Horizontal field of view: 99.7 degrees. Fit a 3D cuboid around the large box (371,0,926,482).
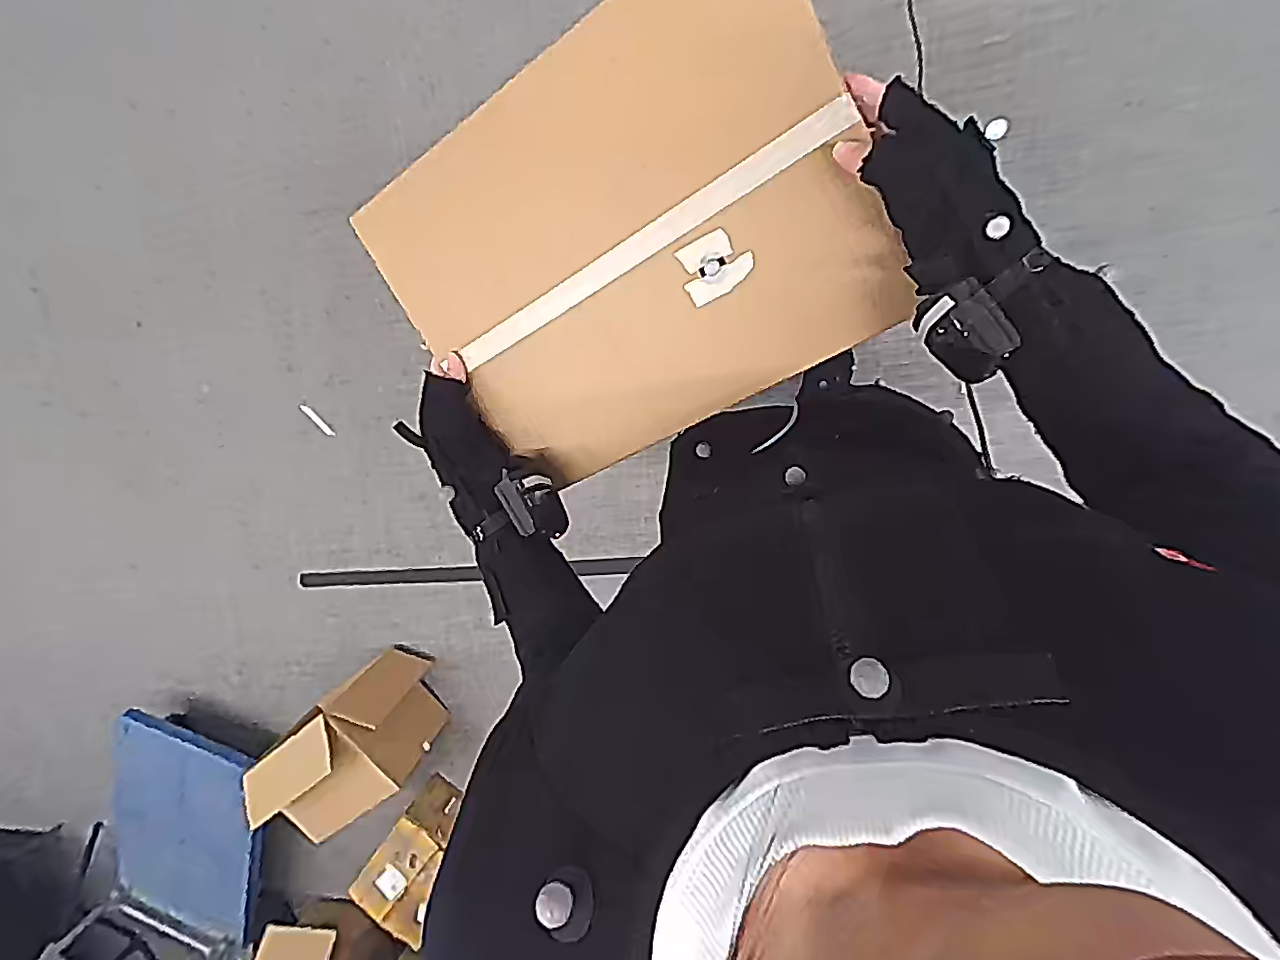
[{"bbox_3d":[0.017,-0.256,0.601,0.408,0.320,0.320,-26,105,19],"label":"large box"}]
